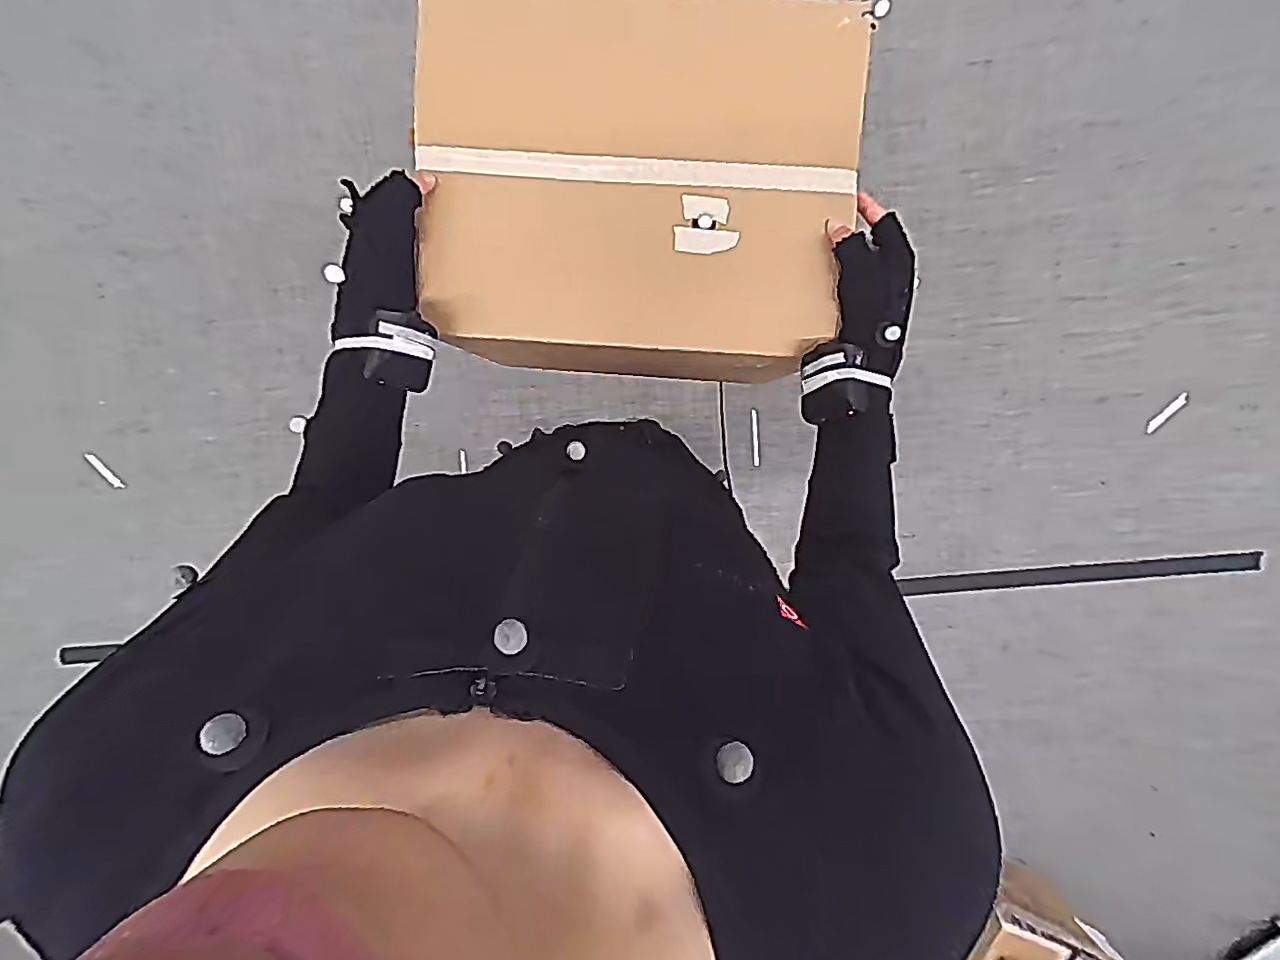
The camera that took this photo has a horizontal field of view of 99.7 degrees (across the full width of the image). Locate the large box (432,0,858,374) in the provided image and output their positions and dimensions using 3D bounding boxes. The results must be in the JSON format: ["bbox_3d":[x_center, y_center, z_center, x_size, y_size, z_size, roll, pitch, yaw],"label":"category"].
[{"bbox_3d":[-0.002,-0.306,0.664,0.408,0.320,0.320,3,97,0],"label":"large box"}]
